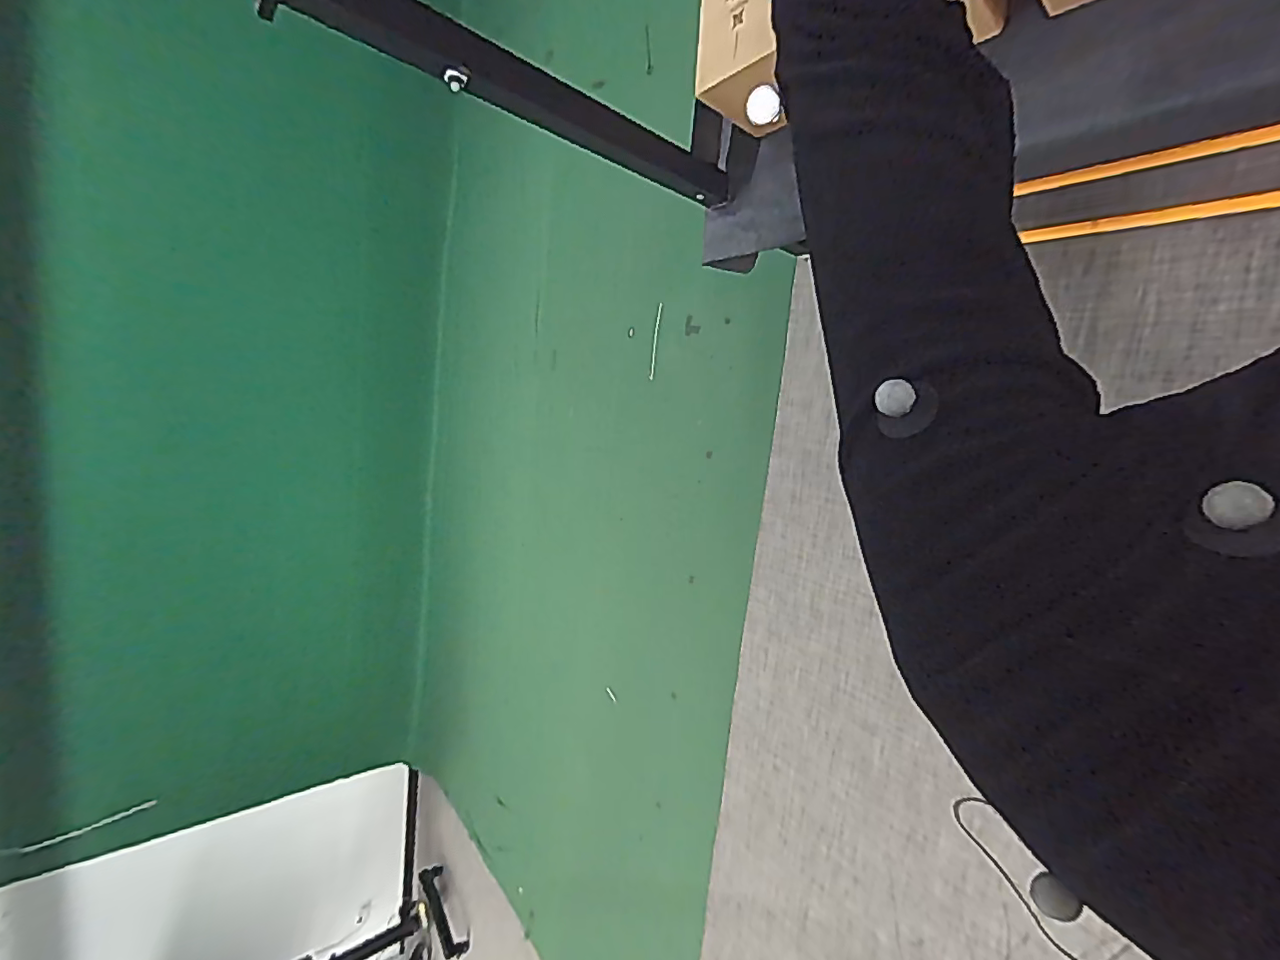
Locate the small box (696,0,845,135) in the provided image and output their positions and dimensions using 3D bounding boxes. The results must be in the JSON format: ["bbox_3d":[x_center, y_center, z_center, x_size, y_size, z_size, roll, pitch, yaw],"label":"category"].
[{"bbox_3d":[0.212,-0.699,0.861,0.168,0.176,0.179,10,98,49],"label":"small box"}]

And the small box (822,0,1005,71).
[{"bbox_3d":[0.360,-0.670,0.691,0.168,0.176,0.179,14,99,48],"label":"small box"}]
